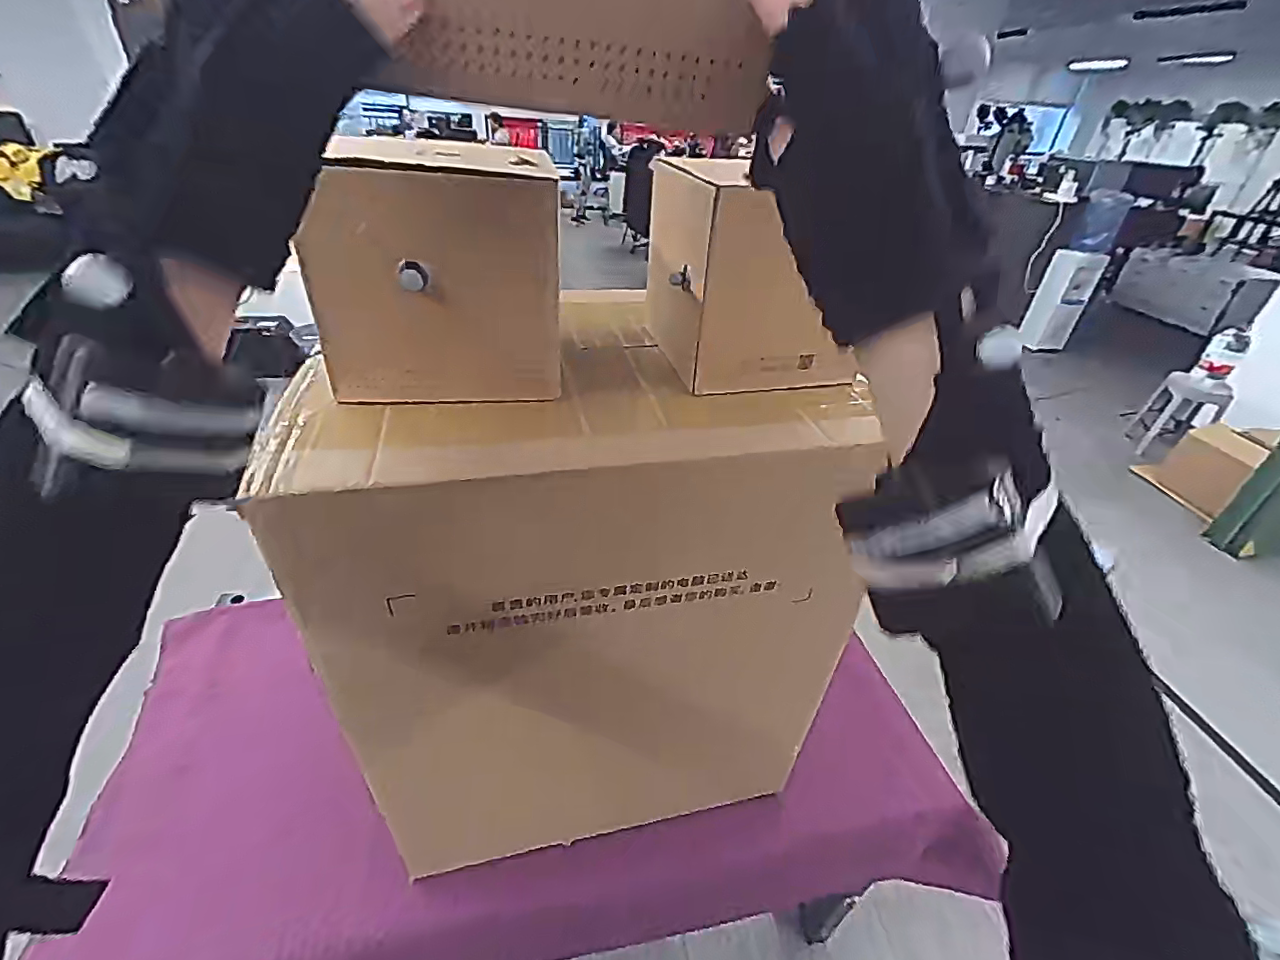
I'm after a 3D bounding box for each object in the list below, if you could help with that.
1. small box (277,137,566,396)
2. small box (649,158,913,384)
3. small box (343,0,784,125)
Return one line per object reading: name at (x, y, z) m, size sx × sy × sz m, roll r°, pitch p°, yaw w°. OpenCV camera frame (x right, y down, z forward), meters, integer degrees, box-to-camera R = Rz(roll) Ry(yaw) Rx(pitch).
small box at (-0.155, -0.178, 0.451) m, size 0.179 × 0.176 × 0.168 m, roll -3°, pitch 36°, yaw -11°
small box at (0.111, -0.197, 0.511) m, size 0.168 × 0.176 × 0.179 m, roll -6°, pitch 35°, yaw -14°
small box at (-0.027, -0.270, 0.215) m, size 0.179 × 0.176 × 0.168 m, roll -2°, pitch 55°, yaw -11°
